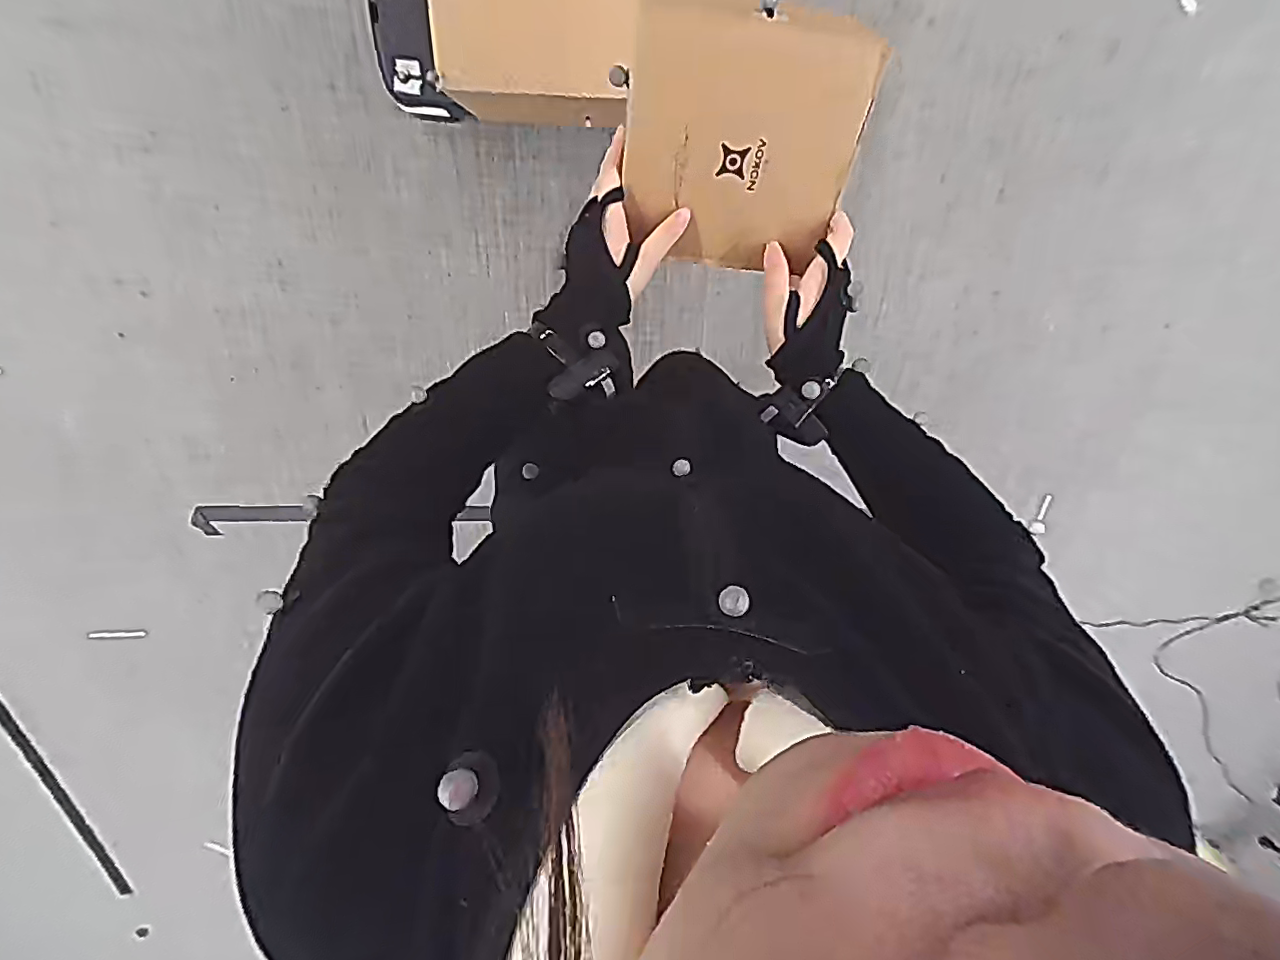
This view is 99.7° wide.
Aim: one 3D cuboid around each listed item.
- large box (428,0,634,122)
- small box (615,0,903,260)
[{"bbox_3d":[-0.077,-0.727,0.797,0.408,0.320,0.320,-1,116,-5],"label":"large box"},{"bbox_3d":[0.075,-0.310,0.453,0.179,0.176,0.168,5,137,-6],"label":"small box"}]
